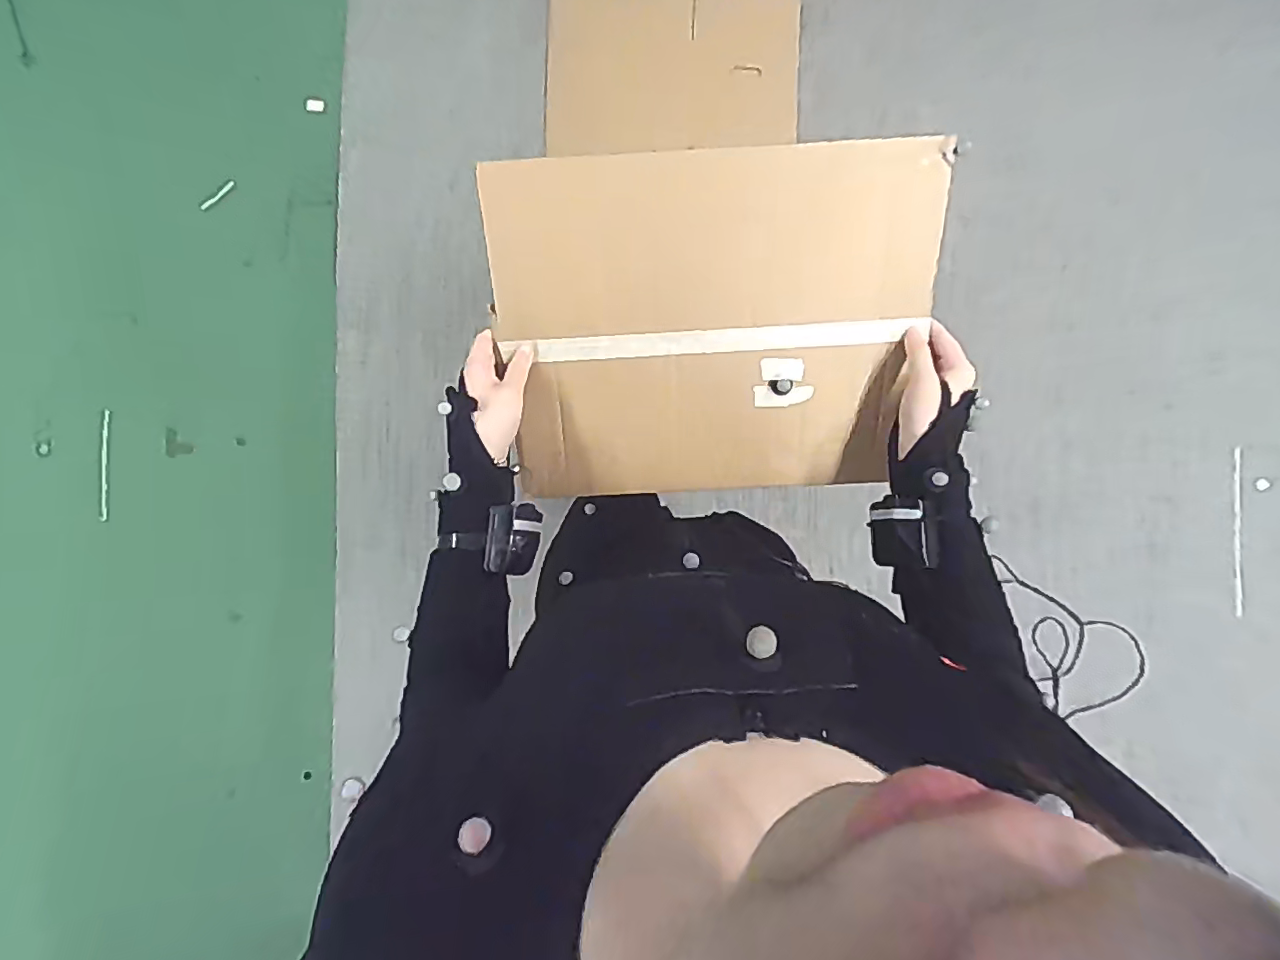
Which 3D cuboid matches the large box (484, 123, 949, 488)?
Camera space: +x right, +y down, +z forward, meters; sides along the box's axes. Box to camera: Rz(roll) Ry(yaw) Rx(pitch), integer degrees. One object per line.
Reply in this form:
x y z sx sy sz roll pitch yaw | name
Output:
0.069 -0.201 0.648 0.408 0.320 0.320 -3 113 0 | large box
